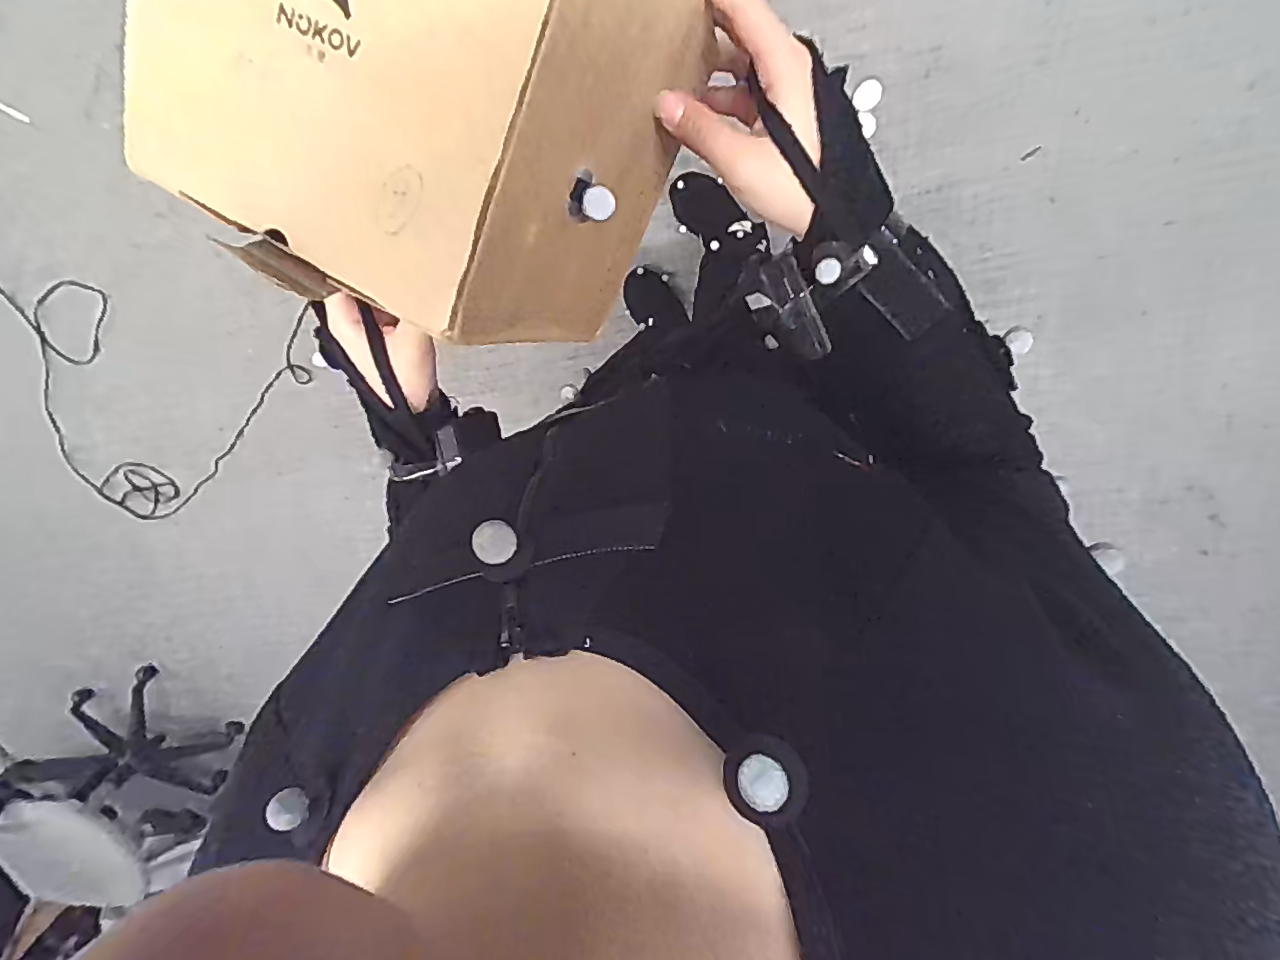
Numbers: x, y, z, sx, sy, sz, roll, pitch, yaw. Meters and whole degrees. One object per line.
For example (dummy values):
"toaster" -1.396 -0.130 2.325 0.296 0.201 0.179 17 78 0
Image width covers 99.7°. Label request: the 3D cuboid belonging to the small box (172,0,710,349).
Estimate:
"small box" -0.078 -0.182 0.274 0.168 0.176 0.179 30 110 7
